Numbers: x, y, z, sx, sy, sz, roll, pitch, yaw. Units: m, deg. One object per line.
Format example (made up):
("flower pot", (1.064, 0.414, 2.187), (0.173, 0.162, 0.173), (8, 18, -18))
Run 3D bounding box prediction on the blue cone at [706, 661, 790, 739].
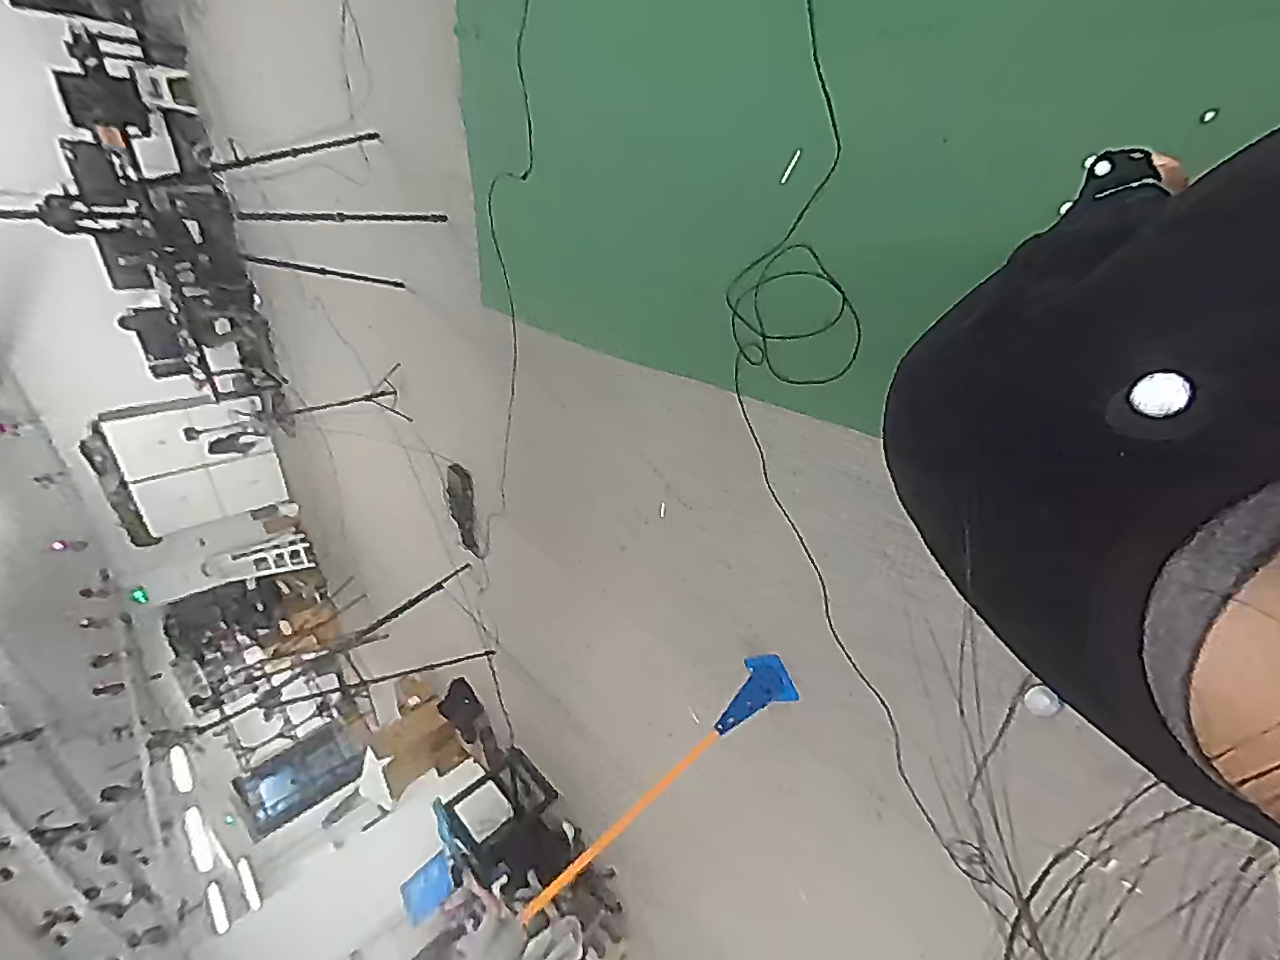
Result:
("blue cone", (0.391, 0.883, 2.094), (0.193, 0.380, 0.192), (-35, 82, 52))
